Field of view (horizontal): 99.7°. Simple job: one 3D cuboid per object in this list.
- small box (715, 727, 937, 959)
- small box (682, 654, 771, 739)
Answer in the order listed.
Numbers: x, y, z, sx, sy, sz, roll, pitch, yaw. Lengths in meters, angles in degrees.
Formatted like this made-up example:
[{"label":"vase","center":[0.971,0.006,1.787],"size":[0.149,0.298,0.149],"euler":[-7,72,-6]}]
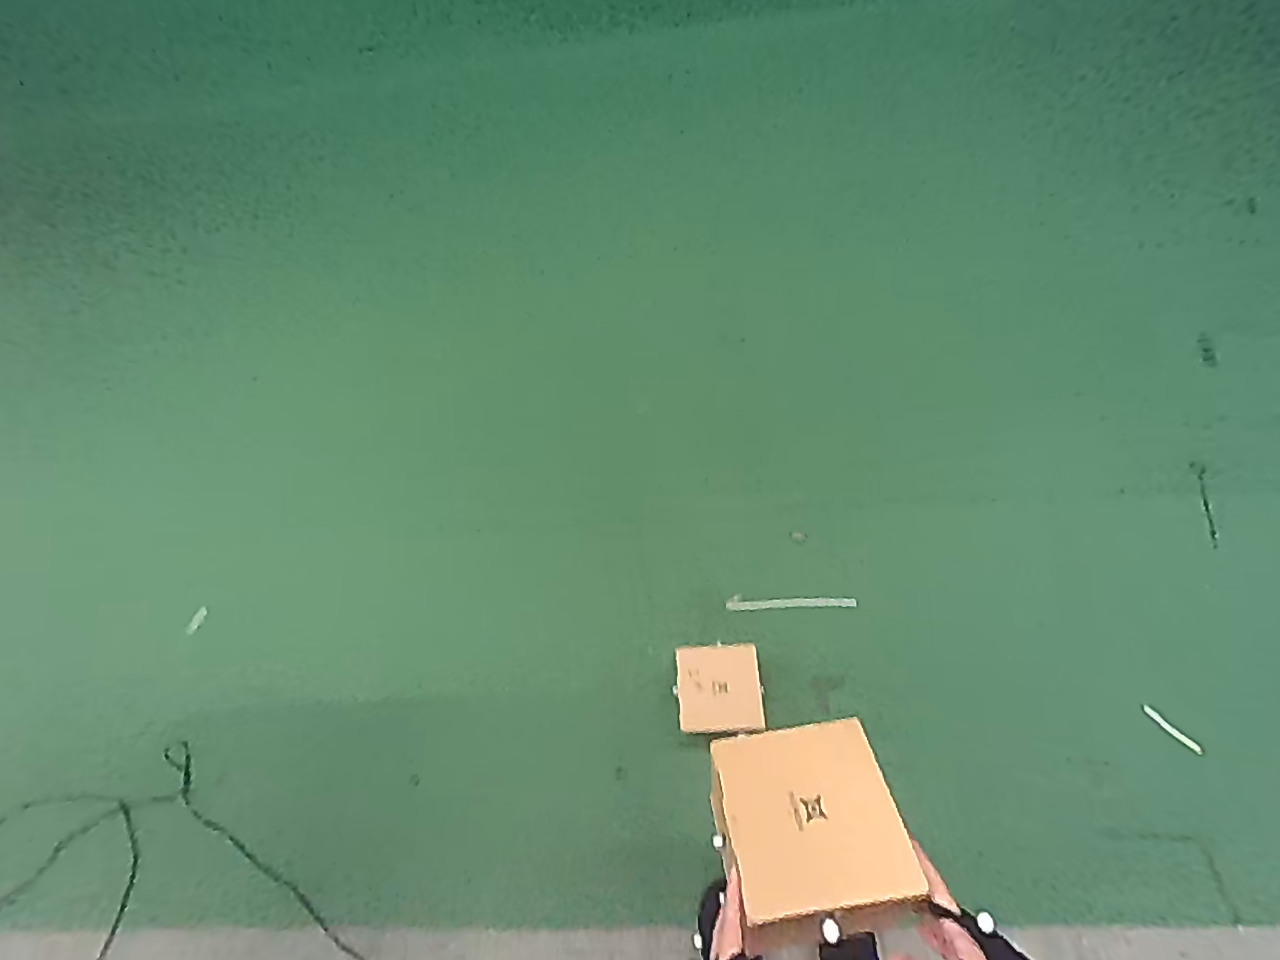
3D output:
[{"label":"small box","center":[0.185,0.402,0.598],"size":[0.179,0.176,0.168],"euler":[-10,40,0]},{"label":"small box","center":[0.186,0.484,1.204],"size":[0.179,0.176,0.168],"euler":[-4,65,6]}]
